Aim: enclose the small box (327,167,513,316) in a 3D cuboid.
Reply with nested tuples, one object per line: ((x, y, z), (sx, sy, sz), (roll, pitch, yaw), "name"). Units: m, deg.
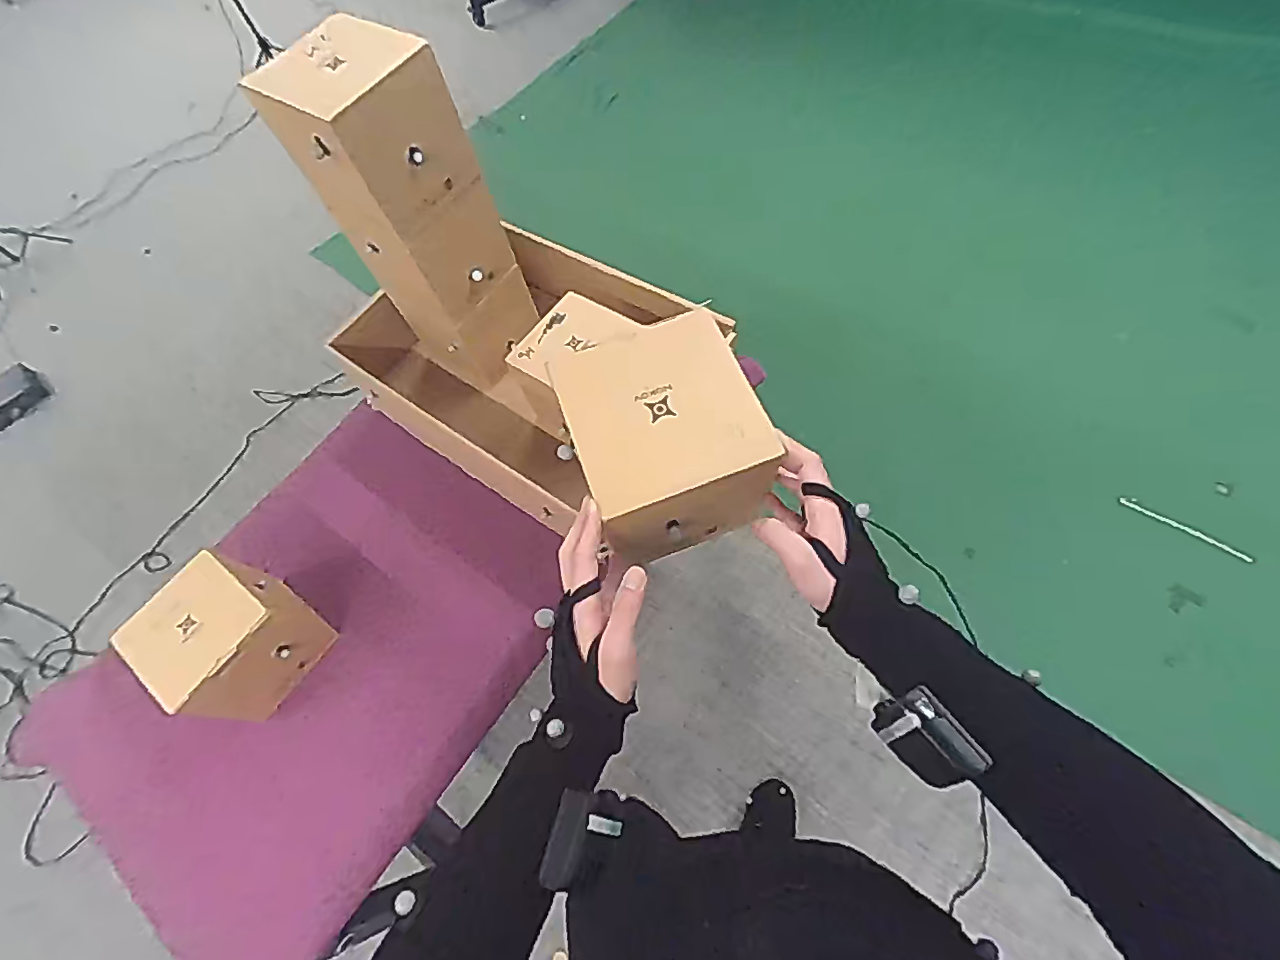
((-0.335, -0.392, 0.856), (0.179, 0.176, 0.168), (30, 73, 19), "small box")

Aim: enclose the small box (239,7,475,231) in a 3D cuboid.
((-0.351, -0.461, 0.707), (0.179, 0.176, 0.168), (31, 72, 19), "small box")

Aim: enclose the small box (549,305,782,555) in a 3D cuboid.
((0.025, -0.036, 0.551), (0.168, 0.176, 0.179), (-20, 65, -4), "small box")

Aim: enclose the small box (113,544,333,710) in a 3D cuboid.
((-0.624, 0.232, 0.832), (0.179, 0.176, 0.168), (31, 71, 21), "small box")
